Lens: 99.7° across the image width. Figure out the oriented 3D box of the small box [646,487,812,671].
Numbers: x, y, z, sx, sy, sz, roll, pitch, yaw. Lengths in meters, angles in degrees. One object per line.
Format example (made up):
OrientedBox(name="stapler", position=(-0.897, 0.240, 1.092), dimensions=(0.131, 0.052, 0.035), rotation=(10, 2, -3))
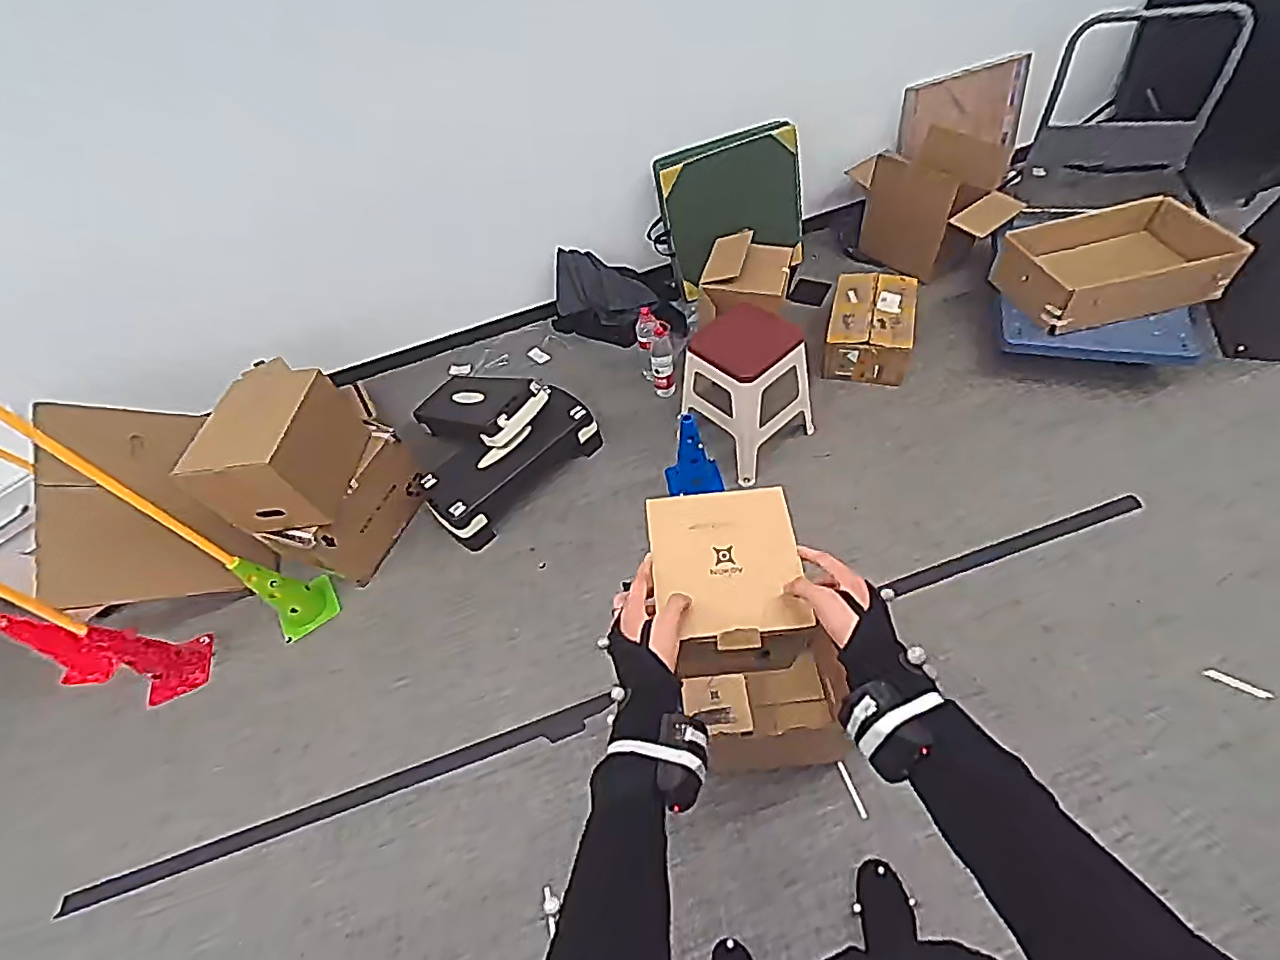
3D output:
OrientedBox(name="small box", position=(0.100, 0.131, 0.670), dimensions=(0.168, 0.176, 0.179), rotation=(-6, 57, 1))
